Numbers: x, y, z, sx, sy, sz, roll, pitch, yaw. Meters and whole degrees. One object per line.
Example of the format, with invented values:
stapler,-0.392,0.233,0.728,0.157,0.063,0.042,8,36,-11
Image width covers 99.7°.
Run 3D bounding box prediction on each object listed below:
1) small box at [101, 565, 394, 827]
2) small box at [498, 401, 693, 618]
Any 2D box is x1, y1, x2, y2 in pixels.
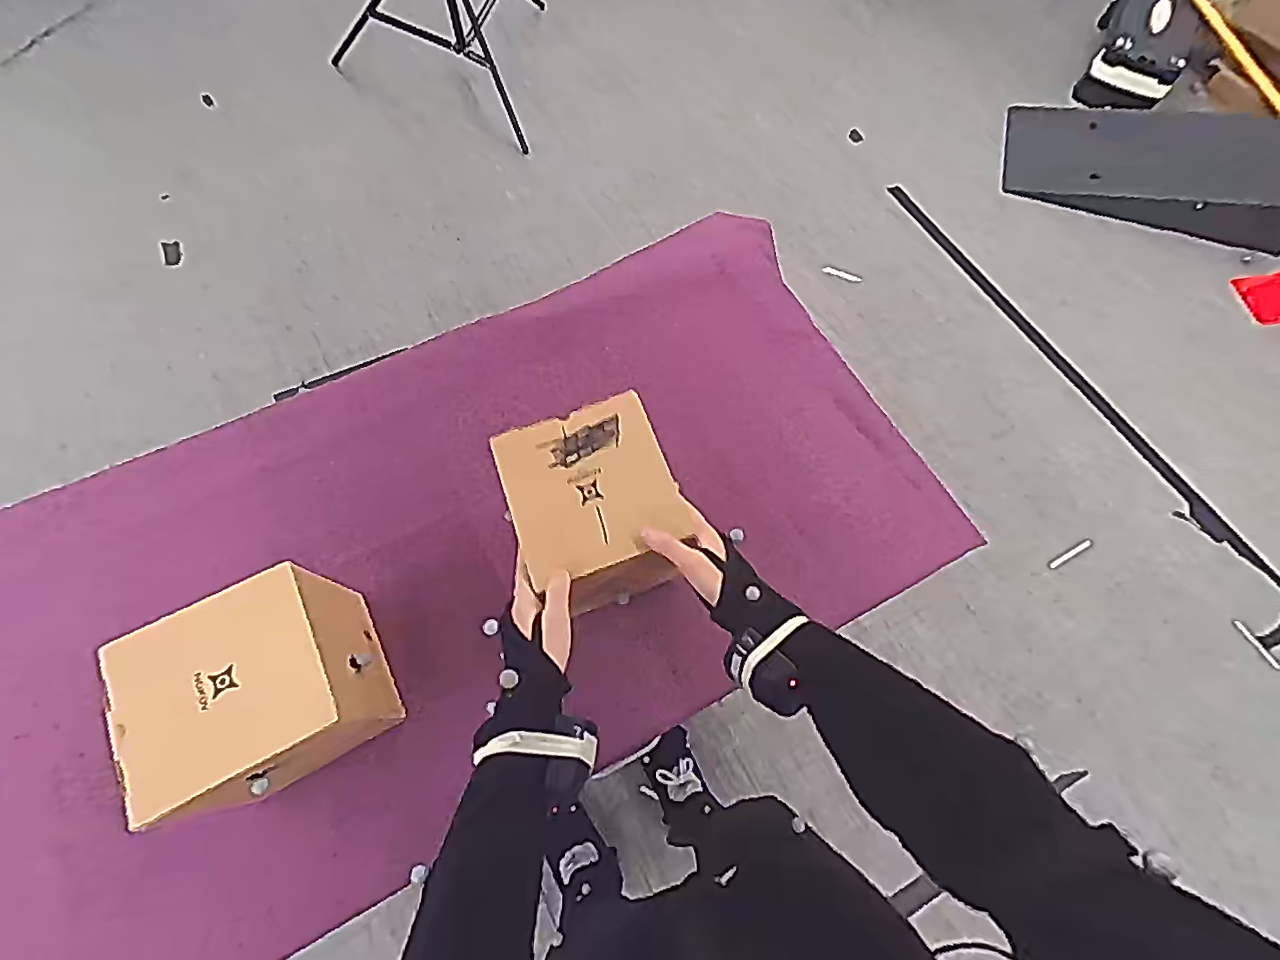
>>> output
small box,-0.381,0.213,0.561,0.179,0.176,0.168,-27,71,-12
small box,-0.048,0.042,0.632,0.168,0.176,0.179,-19,68,-5
